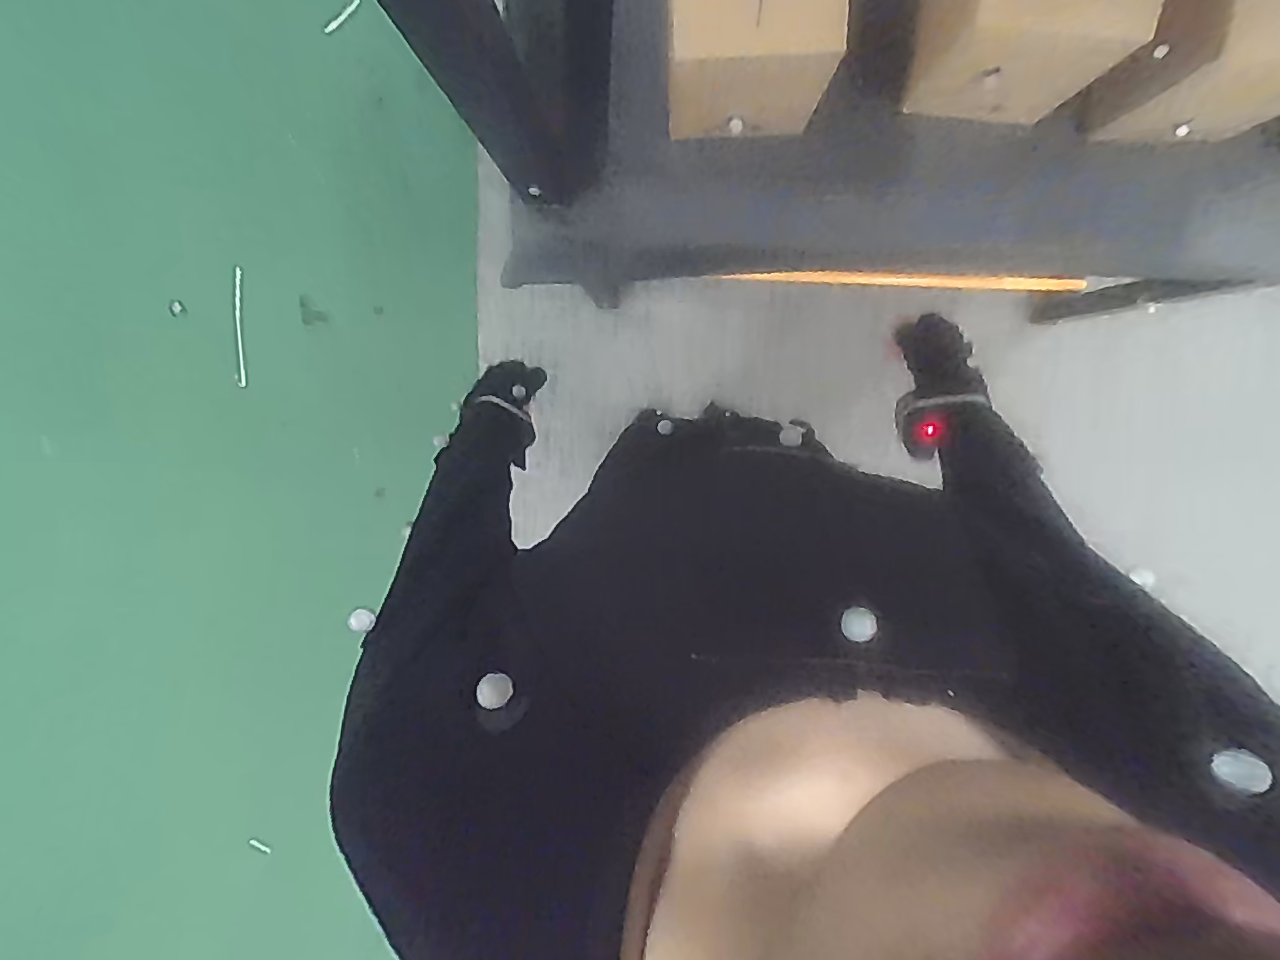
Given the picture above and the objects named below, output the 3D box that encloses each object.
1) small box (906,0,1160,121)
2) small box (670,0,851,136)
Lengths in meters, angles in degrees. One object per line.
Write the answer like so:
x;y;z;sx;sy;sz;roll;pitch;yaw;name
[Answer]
0.406;-0.513;0.568;0.168;0.176;0.179;7;99;1;small box
0.117;-0.502;0.580;0.168;0.176;0.179;-1;100;2;small box
